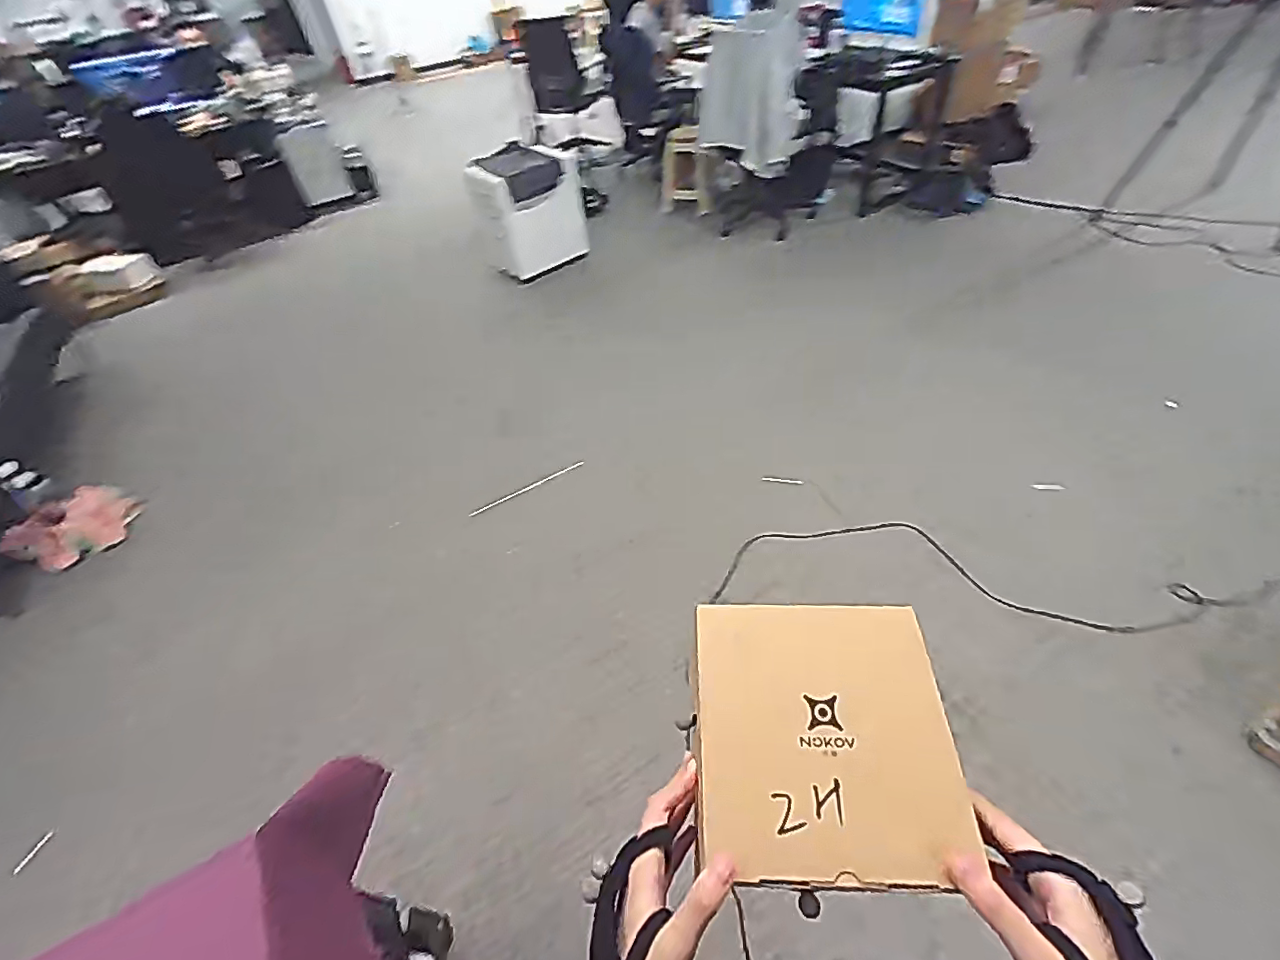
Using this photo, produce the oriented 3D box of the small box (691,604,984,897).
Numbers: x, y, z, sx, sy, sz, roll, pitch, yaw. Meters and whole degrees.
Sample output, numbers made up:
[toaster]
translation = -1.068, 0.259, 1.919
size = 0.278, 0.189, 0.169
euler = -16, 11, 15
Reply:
[small box]
translation = 0.126, 0.216, 0.431
size = 0.168, 0.176, 0.179
euler = 1, 54, 4
